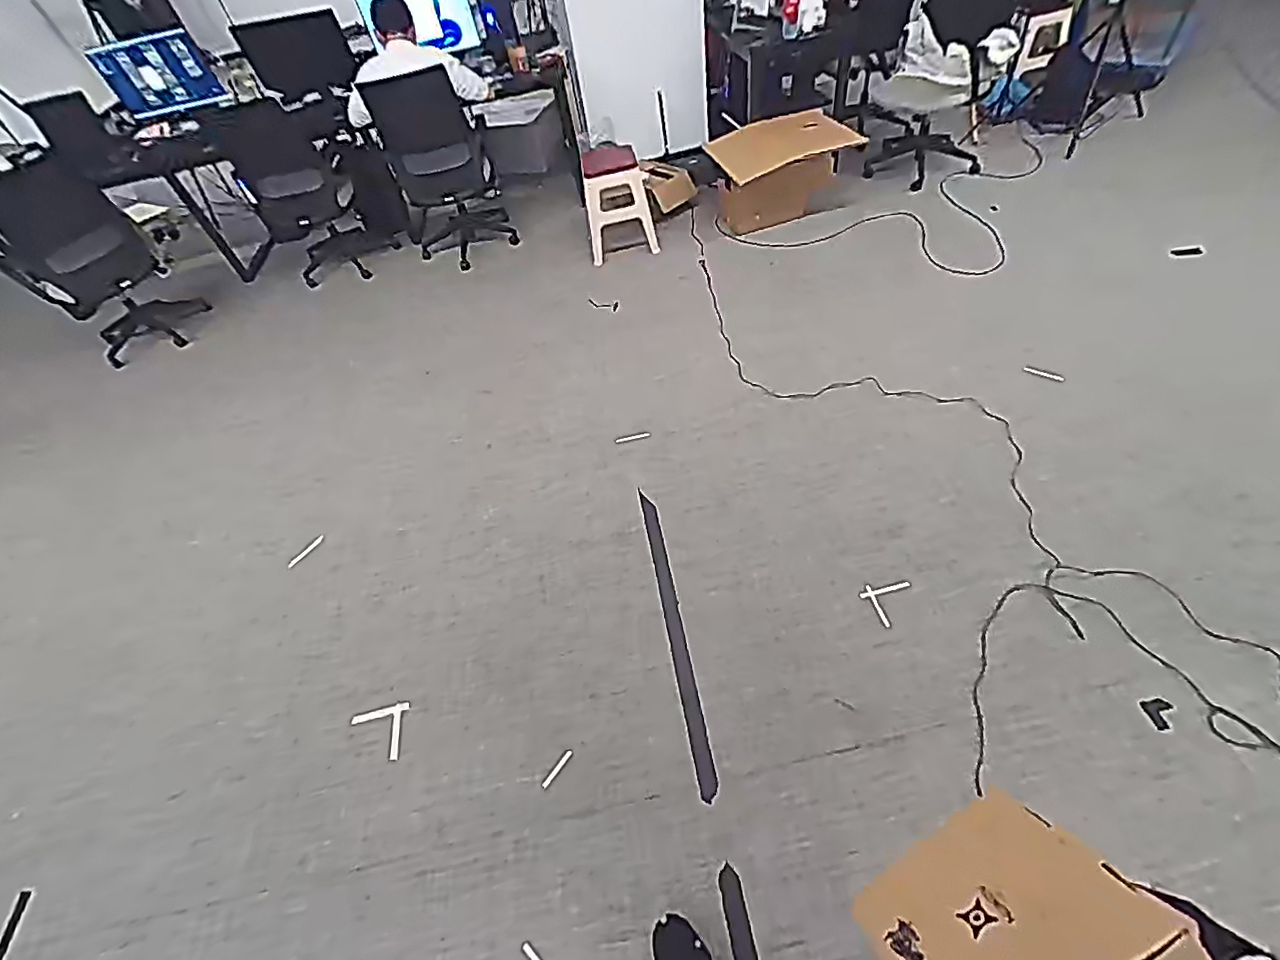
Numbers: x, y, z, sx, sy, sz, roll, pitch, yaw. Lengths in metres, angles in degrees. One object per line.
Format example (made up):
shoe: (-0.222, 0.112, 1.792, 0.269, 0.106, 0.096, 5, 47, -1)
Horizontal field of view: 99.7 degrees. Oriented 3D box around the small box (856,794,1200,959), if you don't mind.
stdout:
small box: (0.317, 0.406, 0.424, 0.179, 0.168, 0.176, -34, 89, -4)
